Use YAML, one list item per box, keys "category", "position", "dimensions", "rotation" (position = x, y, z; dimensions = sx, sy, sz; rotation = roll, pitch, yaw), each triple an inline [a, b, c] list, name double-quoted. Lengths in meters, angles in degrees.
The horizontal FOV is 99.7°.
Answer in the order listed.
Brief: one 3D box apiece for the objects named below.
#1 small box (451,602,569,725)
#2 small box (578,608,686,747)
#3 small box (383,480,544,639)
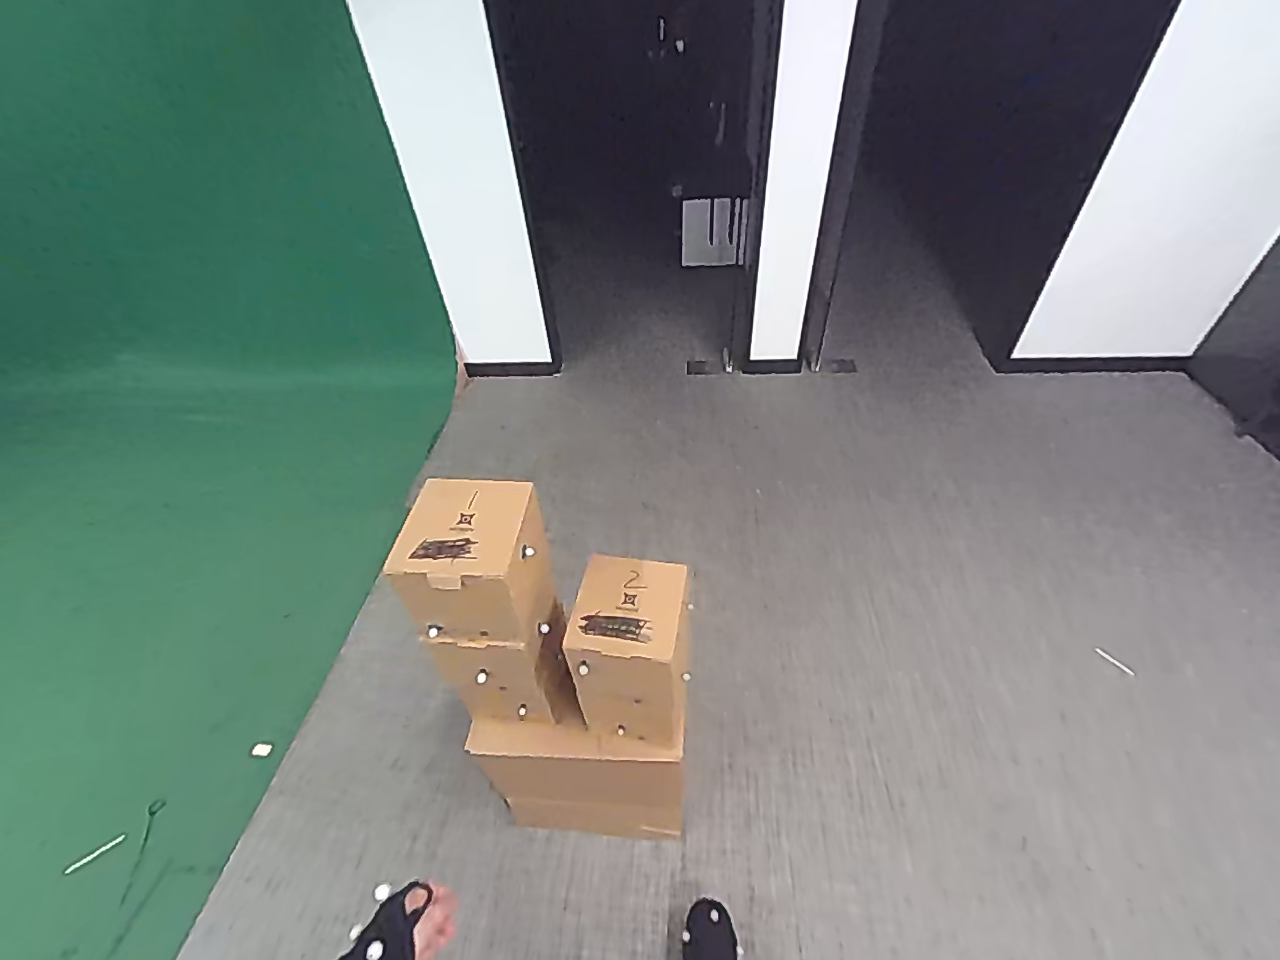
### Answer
- category: "small box"
  position: [-0.237, 0.352, 1.042]
  dimensions: [0.168, 0.176, 0.179]
  rotation: [3, 45, 5]
- category: "small box"
  position: [-0.006, 0.366, 1.008]
  dimensions: [0.168, 0.176, 0.179]
  rotation: [5, 45, 11]
- category: "small box"
  position: [-0.246, 0.120, 0.810]
  dimensions: [0.168, 0.176, 0.179]
  rotation: [2, 44, 3]
